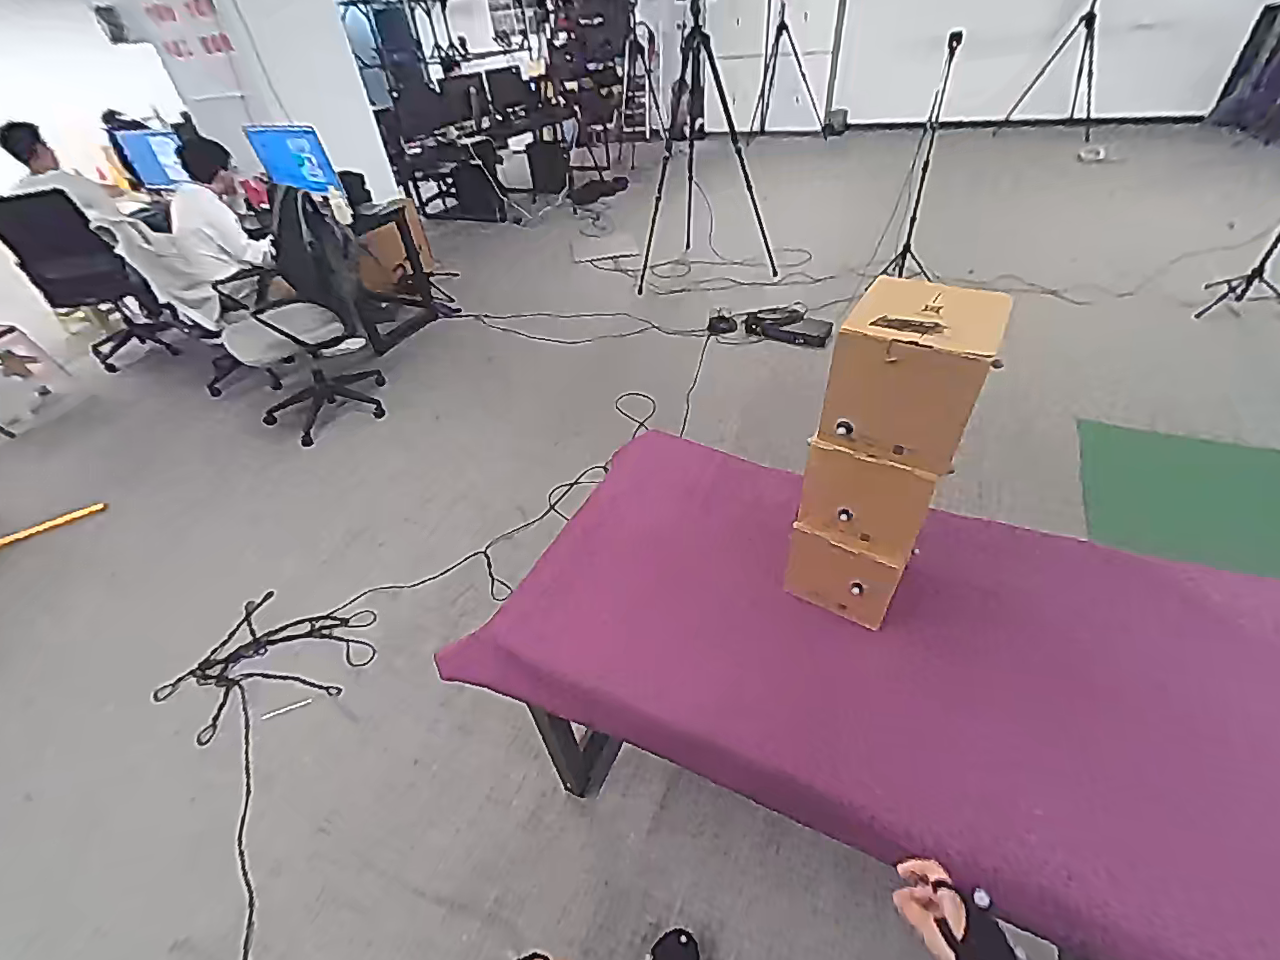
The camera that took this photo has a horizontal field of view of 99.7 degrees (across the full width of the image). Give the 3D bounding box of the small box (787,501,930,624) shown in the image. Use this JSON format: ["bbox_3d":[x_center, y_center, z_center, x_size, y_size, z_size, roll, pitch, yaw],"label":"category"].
[{"bbox_3d":[0.360,0.107,0.910,0.168,0.176,0.179,23,48,28],"label":"small box"}]

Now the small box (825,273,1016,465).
[{"bbox_3d":[0.353,-0.146,0.703,0.168,0.176,0.179,22,48,26],"label":"small box"}]

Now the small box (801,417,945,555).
[{"bbox_3d":[0.353,-0.021,0.810,0.168,0.176,0.179,21,48,26],"label":"small box"}]
